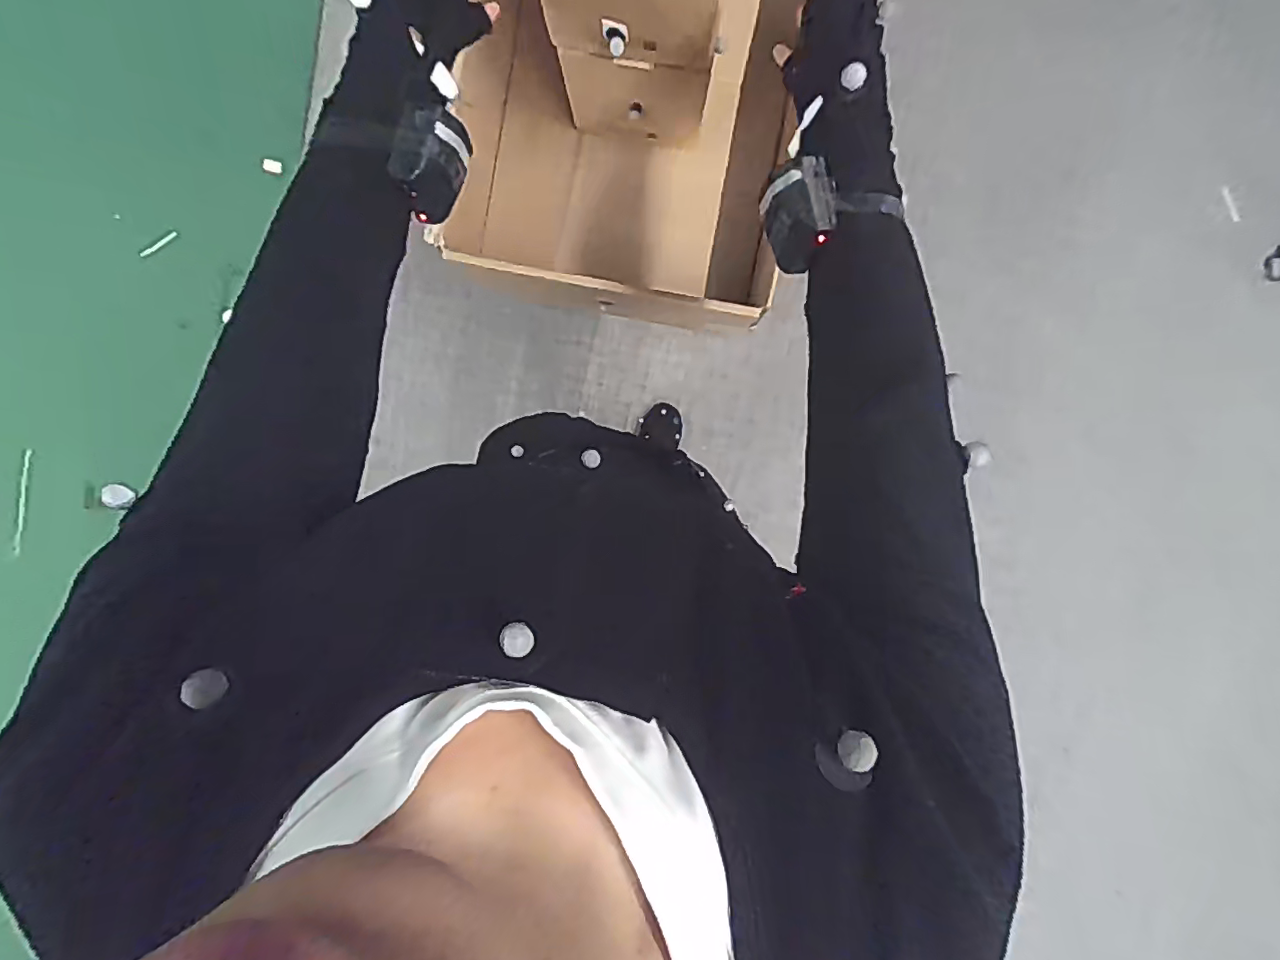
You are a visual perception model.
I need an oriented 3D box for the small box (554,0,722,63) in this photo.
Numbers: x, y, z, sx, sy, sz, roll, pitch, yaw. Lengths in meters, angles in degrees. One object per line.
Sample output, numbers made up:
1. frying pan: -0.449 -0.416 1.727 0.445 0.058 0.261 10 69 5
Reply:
1. small box: 0.004 -0.516 0.468 0.168 0.176 0.179 9 98 1
